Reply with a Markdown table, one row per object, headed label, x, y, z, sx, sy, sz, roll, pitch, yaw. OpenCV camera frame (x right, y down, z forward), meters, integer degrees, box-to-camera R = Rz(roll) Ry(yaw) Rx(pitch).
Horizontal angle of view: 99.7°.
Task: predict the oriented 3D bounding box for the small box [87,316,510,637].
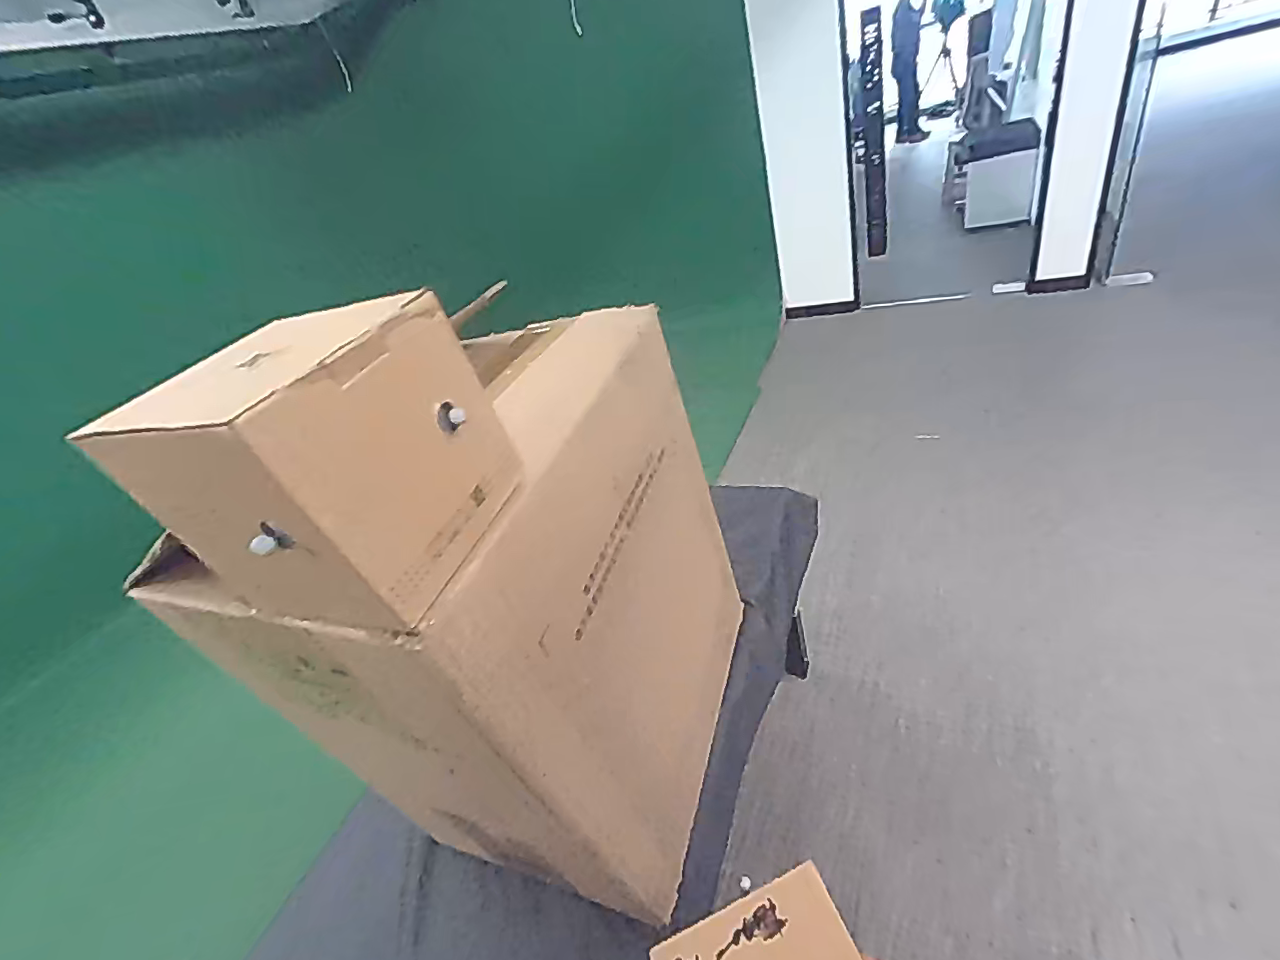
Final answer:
| label | x | y | z | sx | sy | sz | roll | pitch | yaw |
| --- | --- | --- | --- | --- | --- | --- | --- | --- | --- |
| small box | -0.232 | 0.000 | 0.413 | 0.179 | 0.176 | 0.168 | -2 | 39 | 27 |
